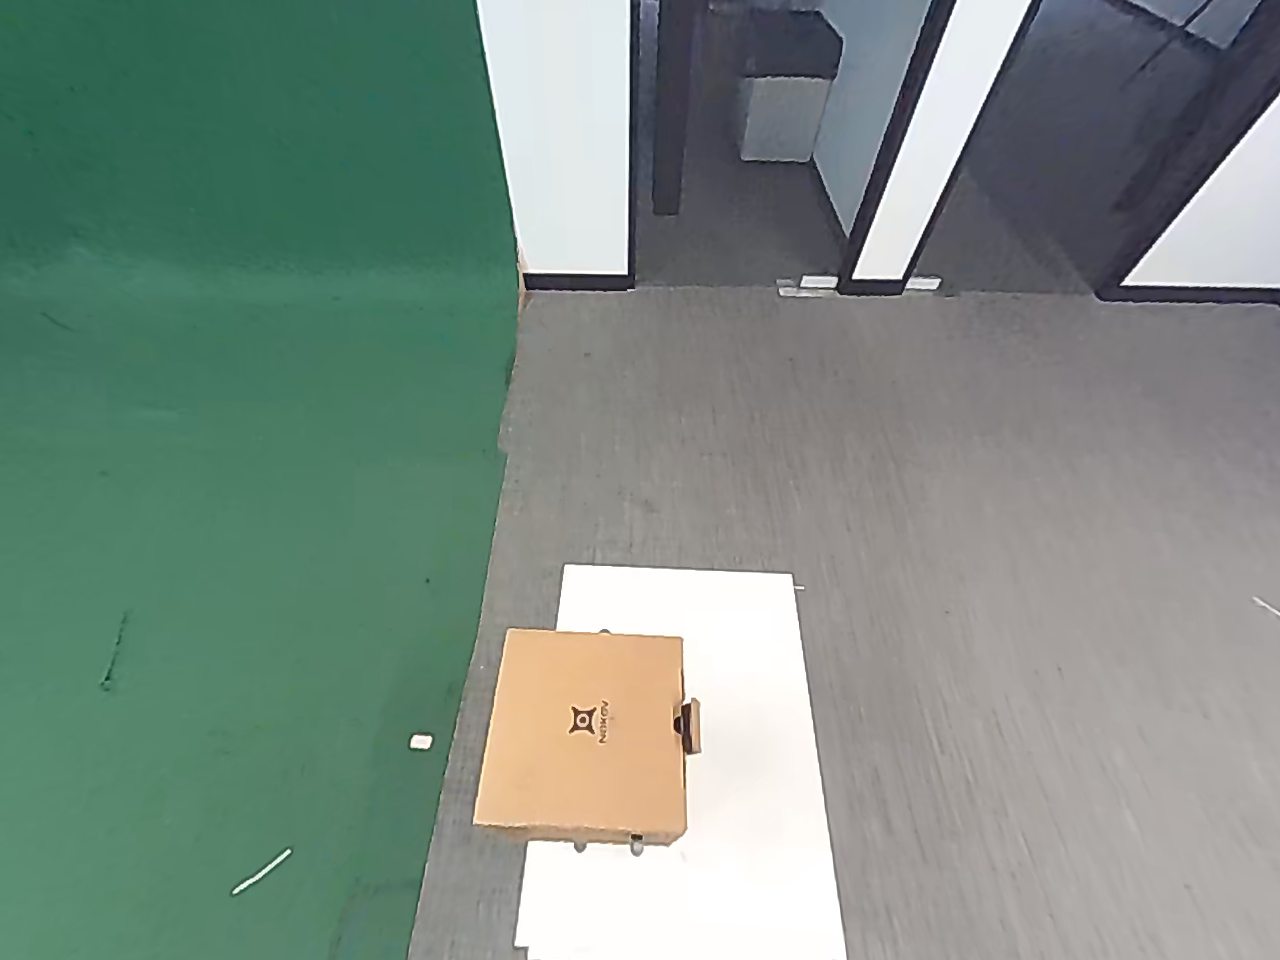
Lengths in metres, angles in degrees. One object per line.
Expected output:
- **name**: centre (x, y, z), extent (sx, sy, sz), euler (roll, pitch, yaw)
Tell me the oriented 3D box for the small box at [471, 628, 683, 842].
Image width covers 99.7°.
- **small box**: centre (-0.052, 0.262, 0.546), extent (0.179, 0.176, 0.168), euler (3, 53, -2)
